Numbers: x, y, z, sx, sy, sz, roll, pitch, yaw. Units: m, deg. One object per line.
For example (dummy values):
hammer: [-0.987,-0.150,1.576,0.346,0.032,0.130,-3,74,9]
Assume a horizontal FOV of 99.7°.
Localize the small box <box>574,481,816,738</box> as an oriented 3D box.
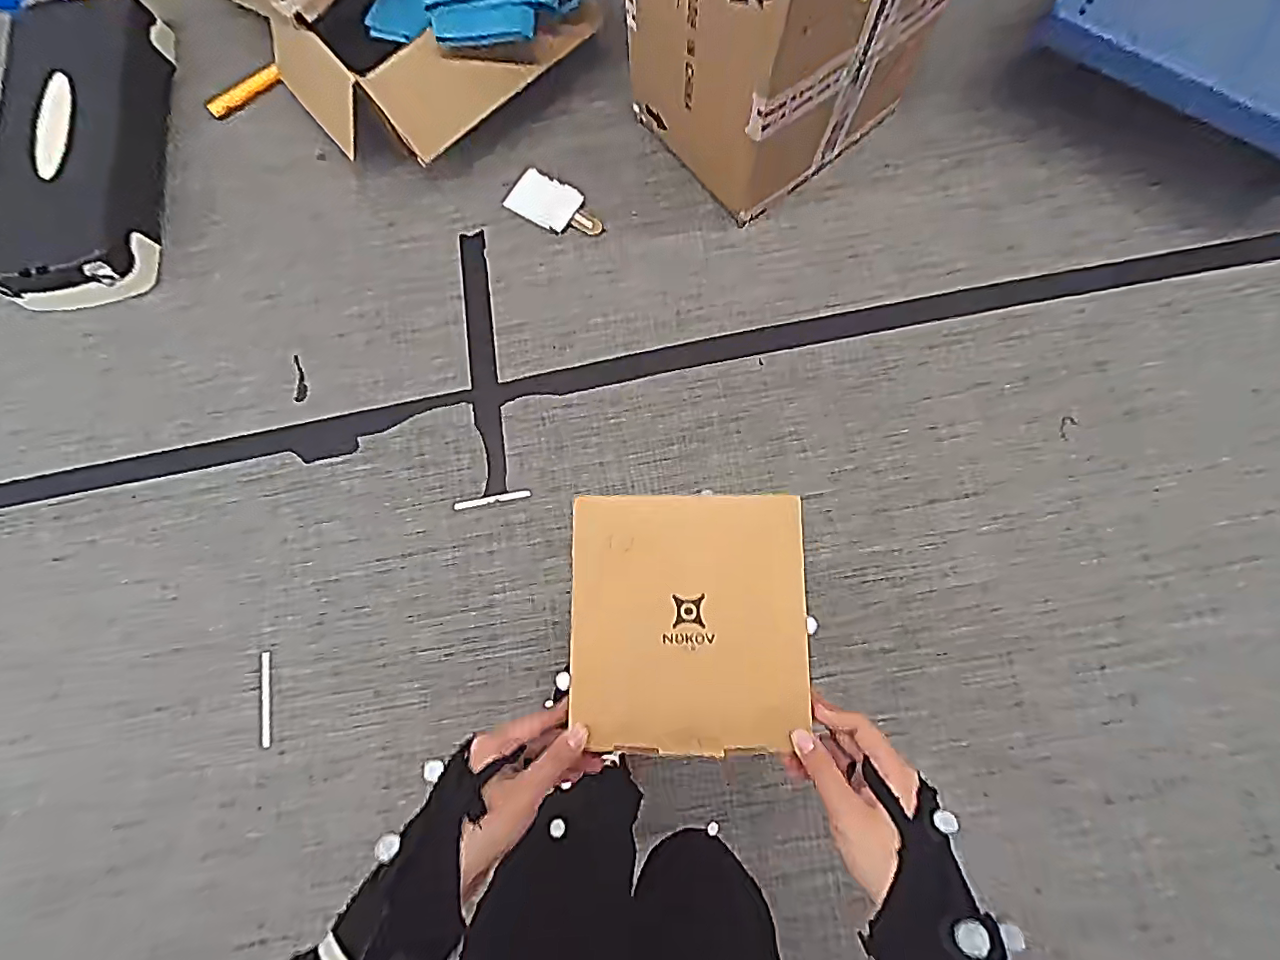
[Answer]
small box: [0.038,0.101,0.455,0.168,0.176,0.179,-1,81,1]
